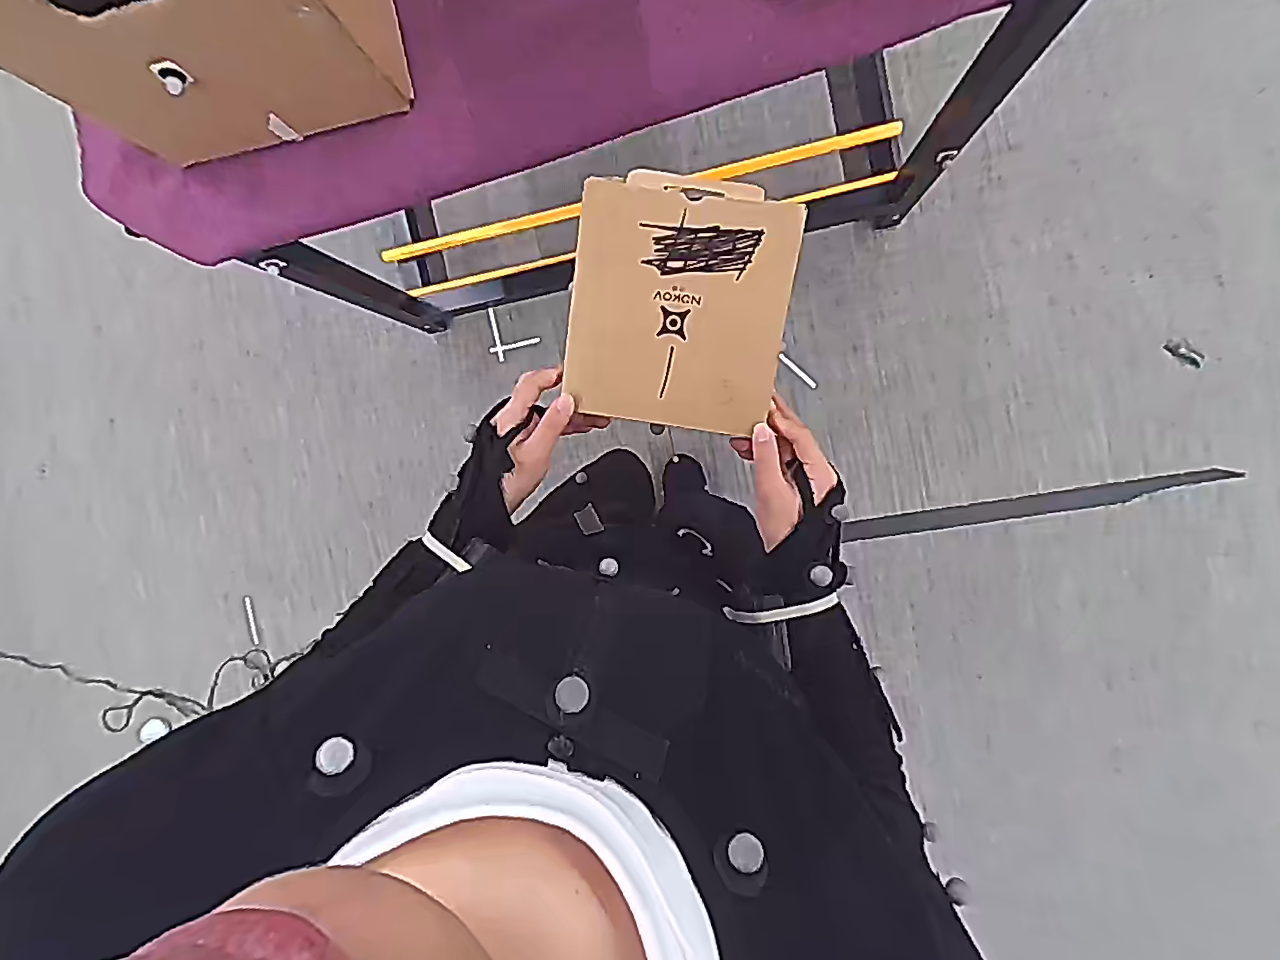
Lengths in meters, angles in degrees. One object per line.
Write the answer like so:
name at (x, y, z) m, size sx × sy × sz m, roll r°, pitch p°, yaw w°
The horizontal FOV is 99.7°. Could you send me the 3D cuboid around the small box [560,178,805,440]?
small box at (0.035, -0.141, 0.492) m, size 0.168 × 0.176 × 0.179 m, roll 10°, pitch 100°, yaw 4°
